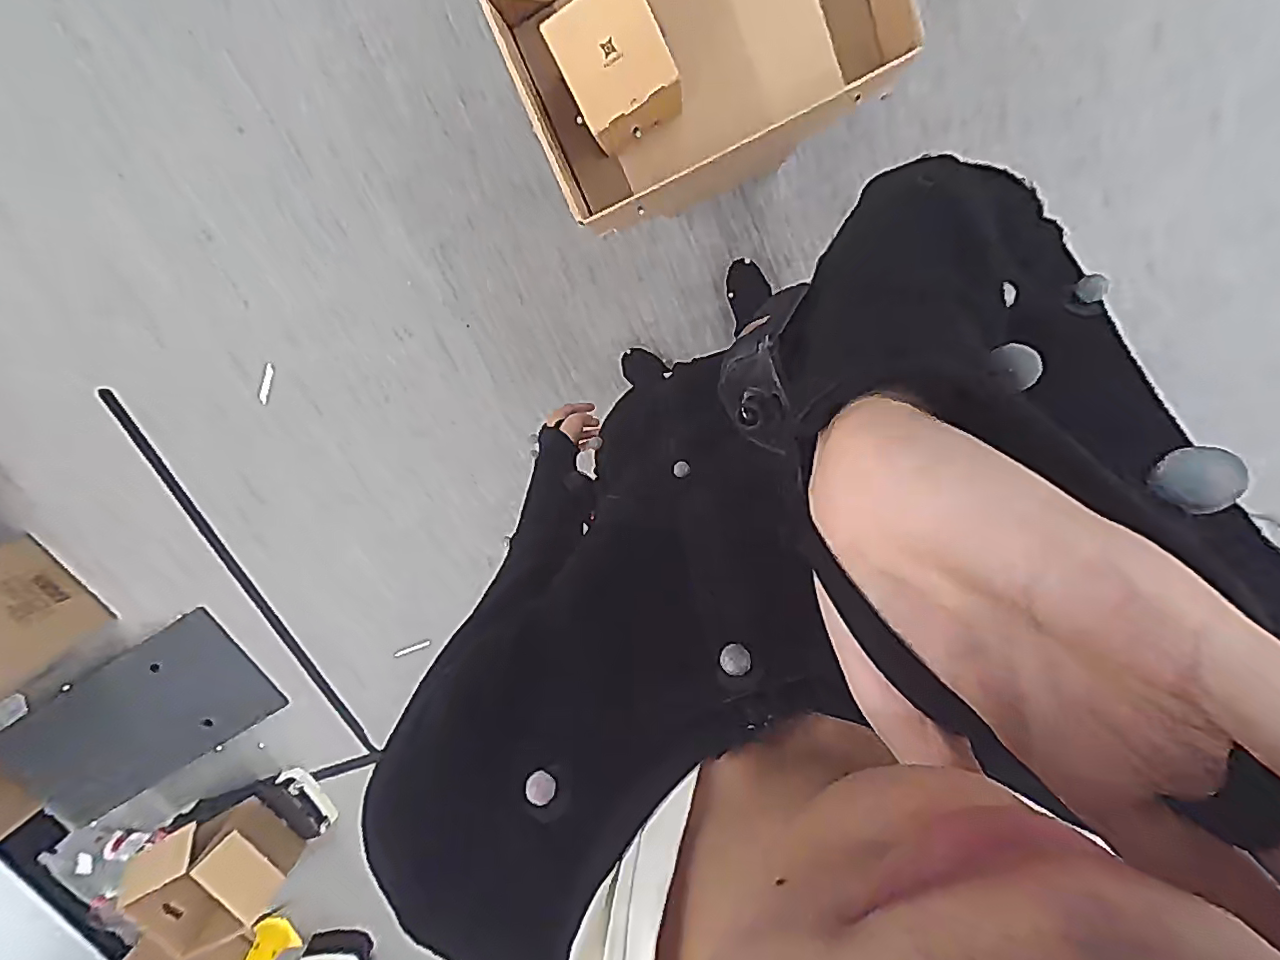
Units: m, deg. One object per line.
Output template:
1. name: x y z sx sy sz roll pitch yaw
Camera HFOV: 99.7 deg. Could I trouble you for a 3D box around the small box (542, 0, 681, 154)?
1. small box: -0.040 -0.704 0.928 0.168 0.176 0.179 -27 105 14
